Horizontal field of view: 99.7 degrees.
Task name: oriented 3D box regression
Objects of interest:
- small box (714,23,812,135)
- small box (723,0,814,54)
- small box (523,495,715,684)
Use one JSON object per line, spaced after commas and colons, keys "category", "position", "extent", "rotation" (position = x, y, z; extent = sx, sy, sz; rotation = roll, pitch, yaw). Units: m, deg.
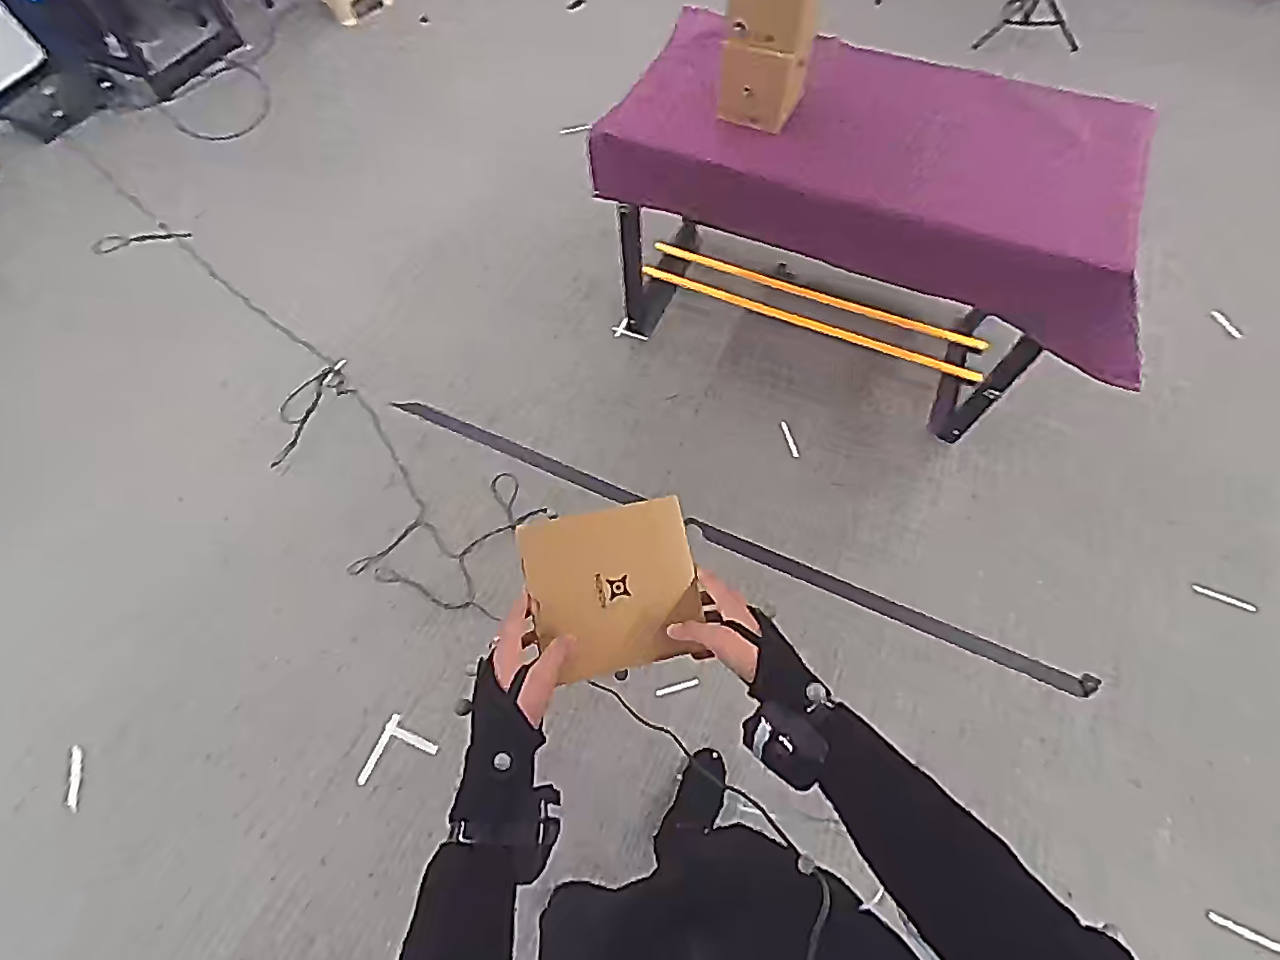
{"category": "small box", "position": [0.287, -0.970, 1.296], "extent": [0.168, 0.176, 0.179], "rotation": [25, 67, 12]}
{"category": "small box", "position": [0.284, -1.053, 1.153], "extent": [0.168, 0.176, 0.179], "rotation": [20, 66, 11]}
{"category": "small box", "position": [-0.031, 0.119, 0.633], "extent": [0.179, 0.176, 0.168], "rotation": [-11, 83, -8]}
